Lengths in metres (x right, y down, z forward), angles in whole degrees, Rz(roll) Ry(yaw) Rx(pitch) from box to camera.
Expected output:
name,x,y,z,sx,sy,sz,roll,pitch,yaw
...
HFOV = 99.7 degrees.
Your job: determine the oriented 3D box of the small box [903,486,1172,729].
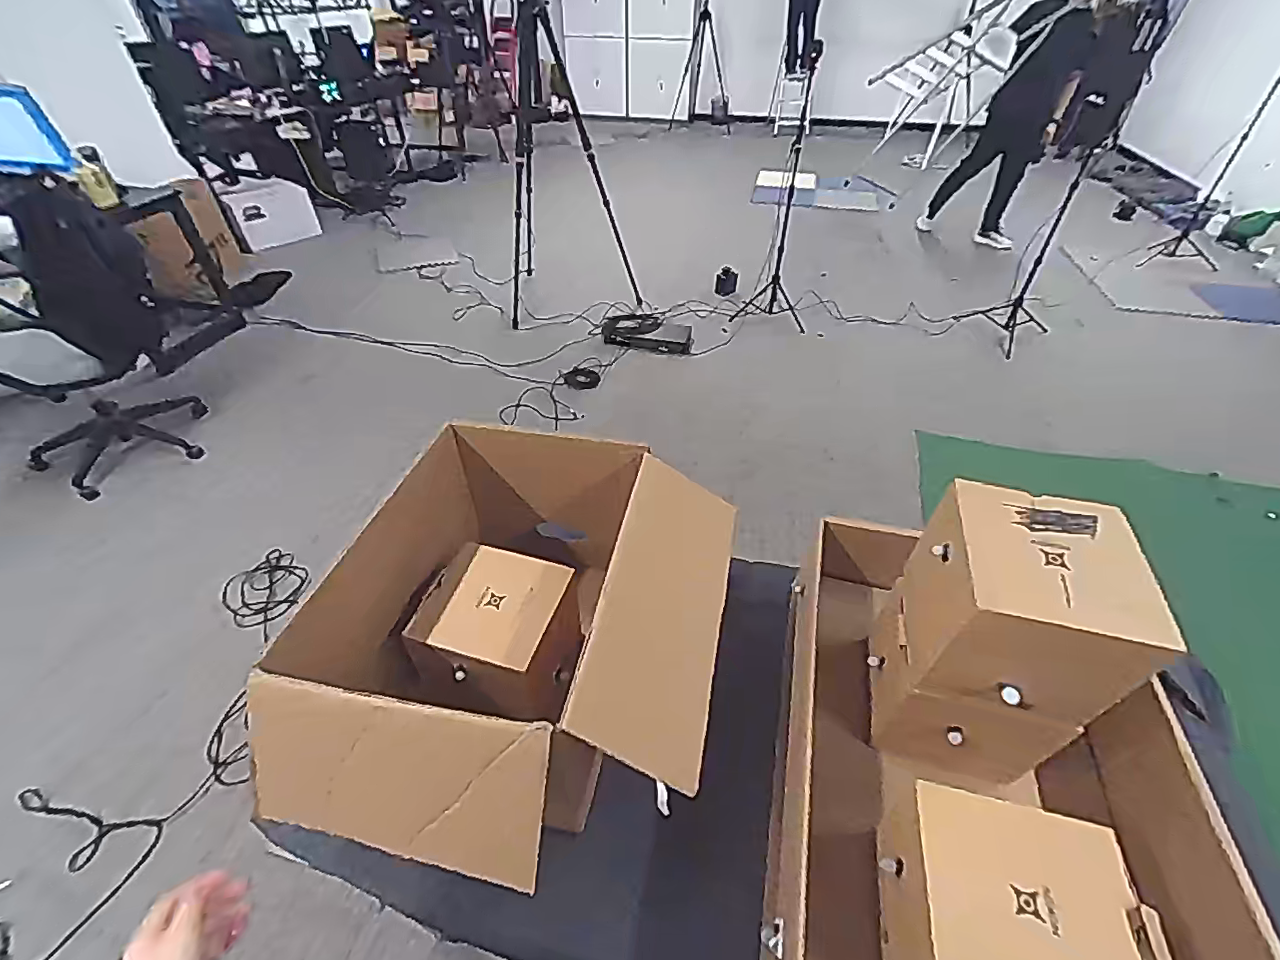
name,x,y,z,sx,sy,sz,roll,pitch,yaw
small box,0.403,0.138,0.594,0.168,0.176,0.179,11,46,12
